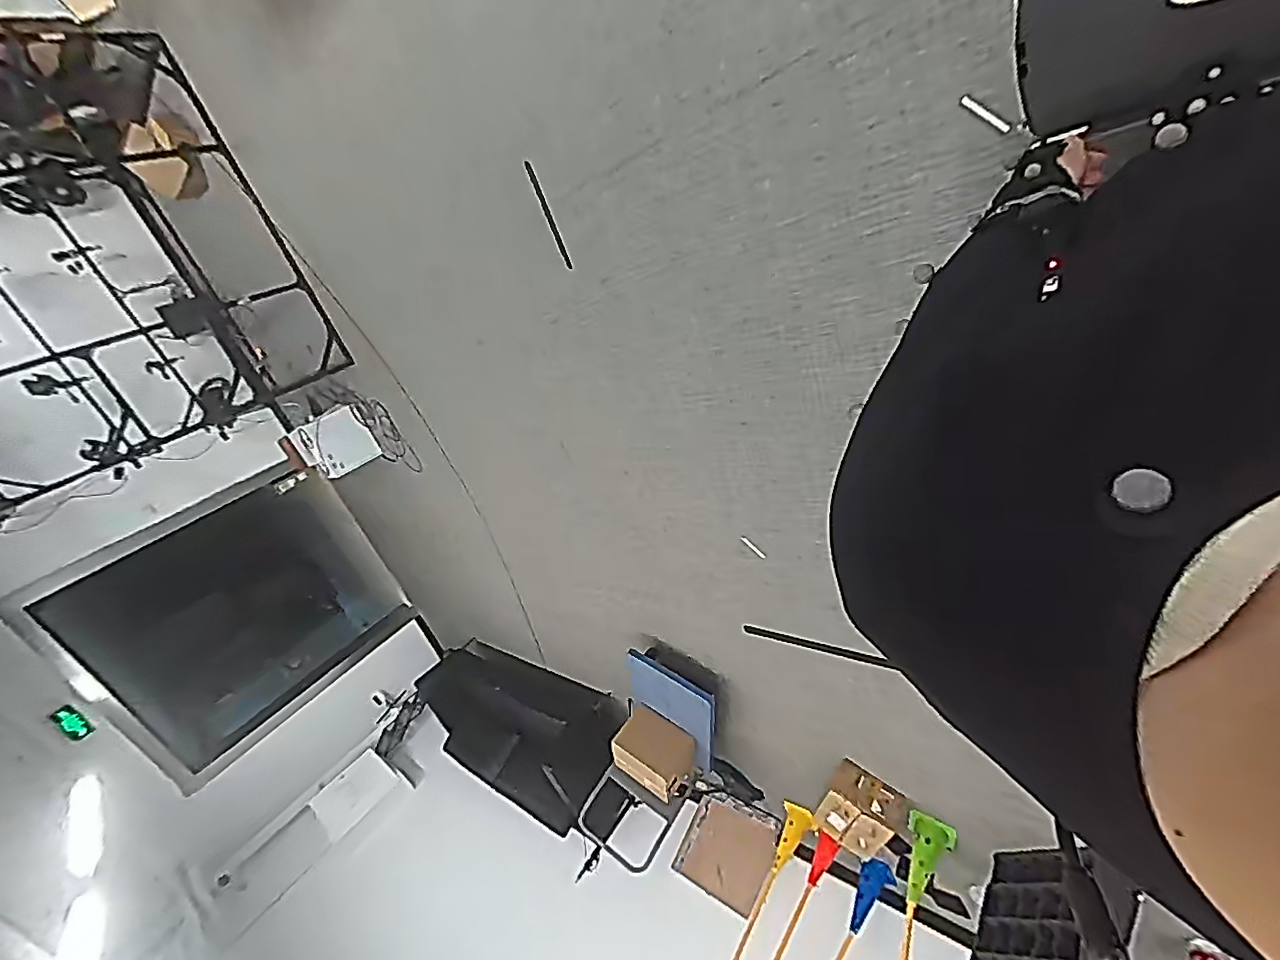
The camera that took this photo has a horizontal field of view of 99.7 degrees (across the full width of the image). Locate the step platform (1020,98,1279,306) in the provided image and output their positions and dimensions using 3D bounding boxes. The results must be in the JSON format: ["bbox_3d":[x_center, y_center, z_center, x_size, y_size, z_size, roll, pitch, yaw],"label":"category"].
[{"bbox_3d":[1.050,-0.483,0.900,0.684,0.204,0.286,8,124,43],"label":"step platform"}]
